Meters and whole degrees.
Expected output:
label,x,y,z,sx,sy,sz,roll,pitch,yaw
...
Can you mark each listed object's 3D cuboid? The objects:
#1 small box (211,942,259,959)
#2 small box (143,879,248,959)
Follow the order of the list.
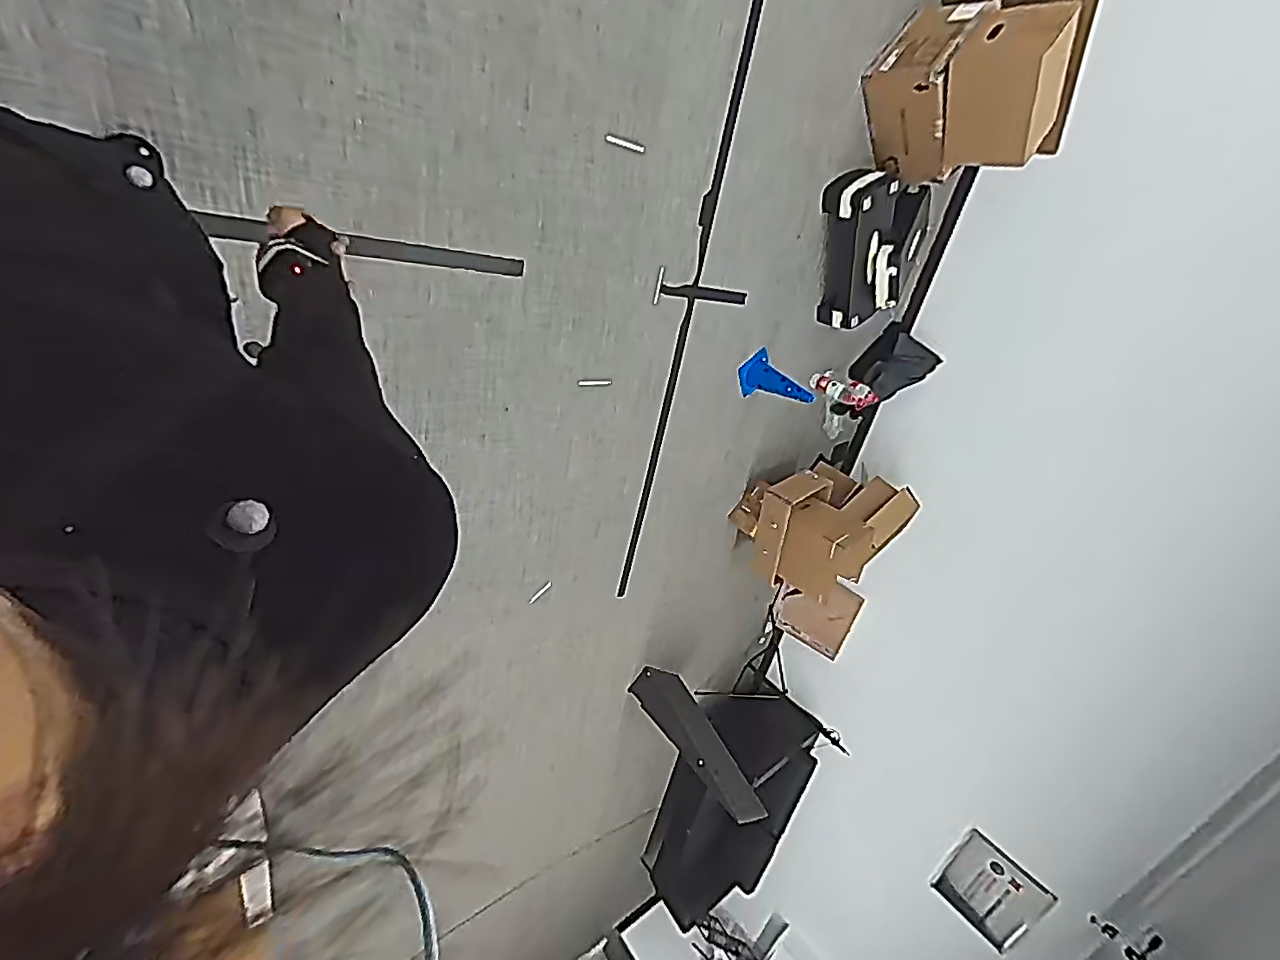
label,x,y,z,sx,sy,sz,roll,pitch,yaw
small box,-0.924,1.166,1.175,0.168,0.176,0.179,-4,121,-43
small box,-1.038,1.093,1.266,0.179,0.176,0.168,-5,121,-41
